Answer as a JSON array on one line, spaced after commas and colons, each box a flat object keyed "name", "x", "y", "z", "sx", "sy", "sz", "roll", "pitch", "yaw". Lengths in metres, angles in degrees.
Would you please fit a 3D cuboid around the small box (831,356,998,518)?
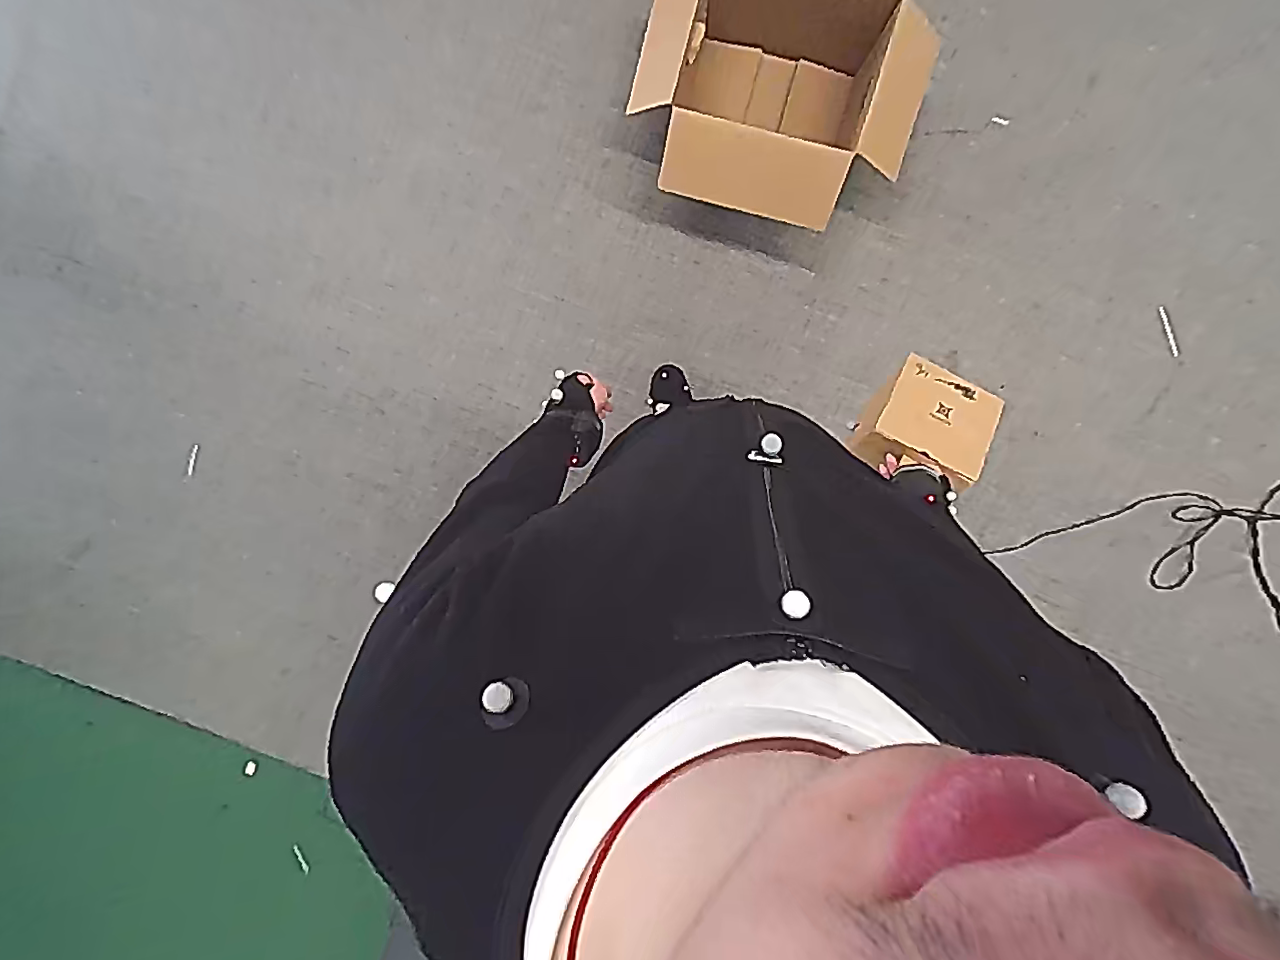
[{"name": "small box", "x": 0.446, "y": -0.063, "z": 0.905, "sx": 0.168, "sy": 0.176, "sz": 0.179, "roll": 32, "pitch": 67, "yaw": 9}]
